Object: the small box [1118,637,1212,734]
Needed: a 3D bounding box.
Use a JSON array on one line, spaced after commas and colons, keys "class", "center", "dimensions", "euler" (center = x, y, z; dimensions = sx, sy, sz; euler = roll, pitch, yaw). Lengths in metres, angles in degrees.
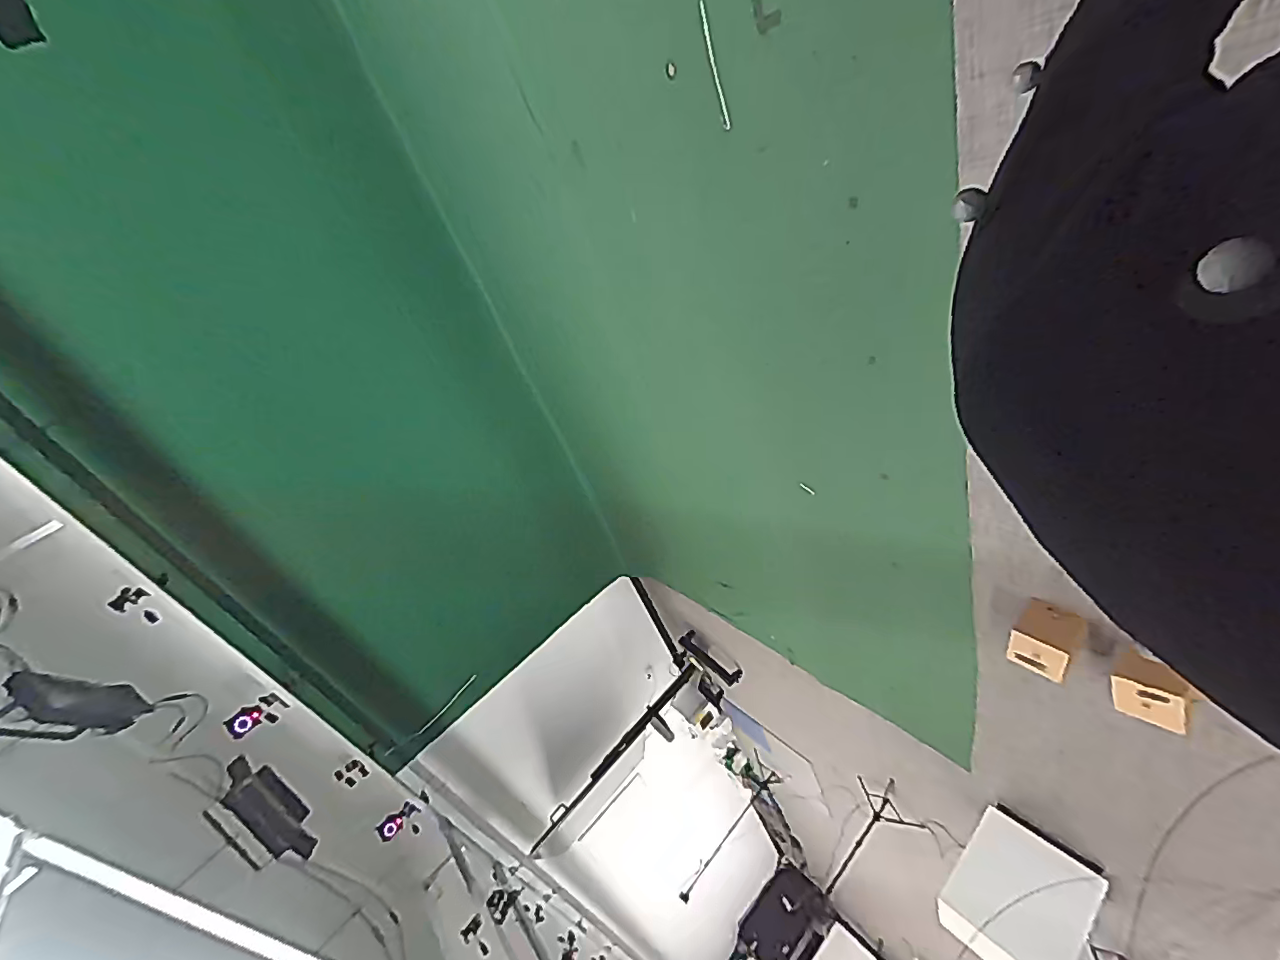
[{"class": "small box", "center": [1.572, 0.606, 1.620], "dimensions": [0.168, 0.176, 0.179], "euler": [14, 138, 56]}]
